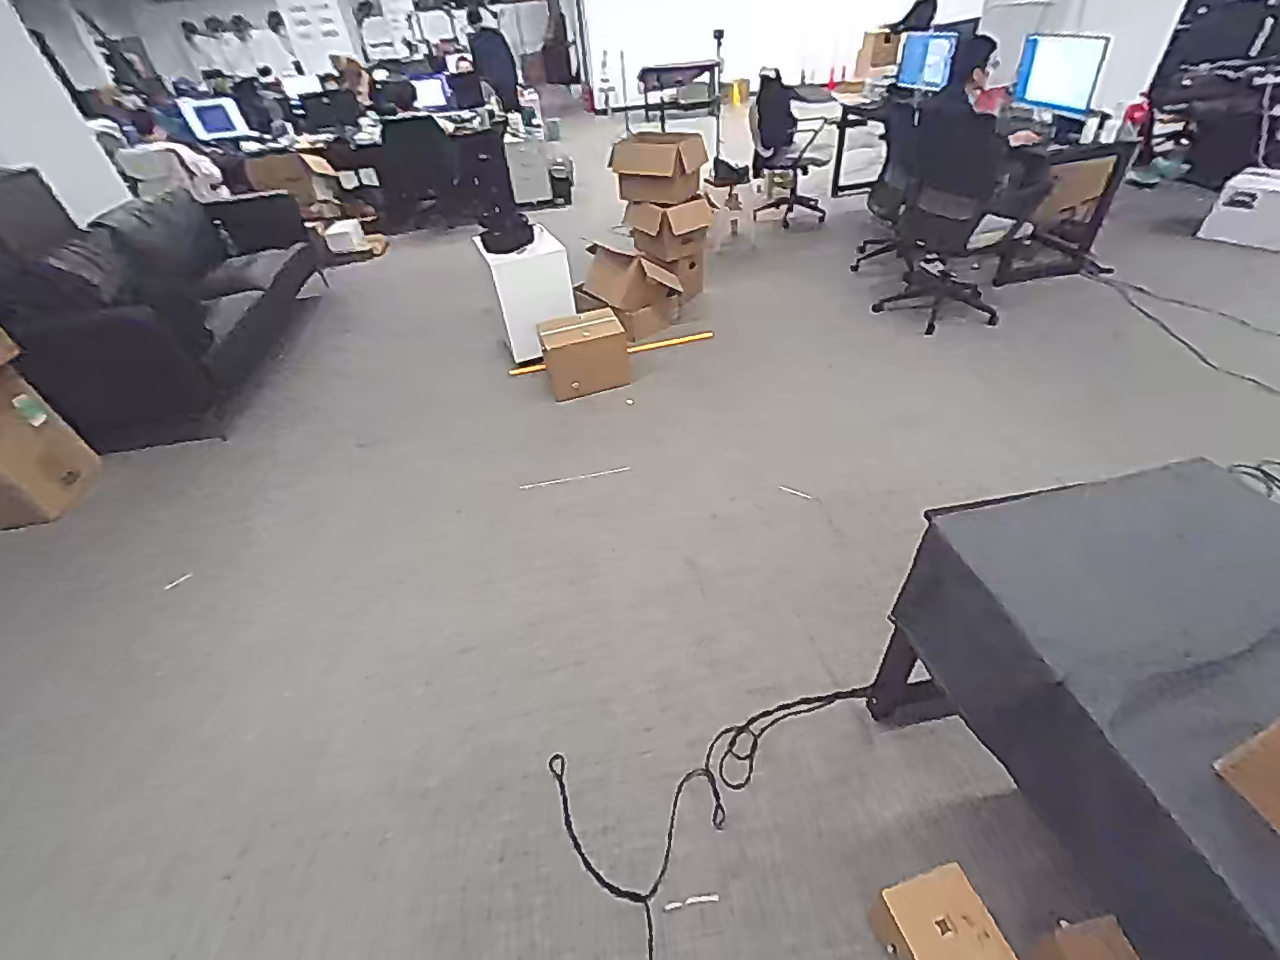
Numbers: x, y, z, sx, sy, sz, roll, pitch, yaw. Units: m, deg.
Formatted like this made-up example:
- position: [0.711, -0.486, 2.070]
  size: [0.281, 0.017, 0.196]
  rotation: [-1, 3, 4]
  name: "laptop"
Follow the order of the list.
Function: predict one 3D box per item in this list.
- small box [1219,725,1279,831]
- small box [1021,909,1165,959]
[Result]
- position: [0.806, 0.337, 0.574]
  size: [0.168, 0.176, 0.179]
  rotation: [-12, 42, -8]
  name: "small box"
- position: [0.857, 0.931, 0.993]
  size: [0.168, 0.176, 0.179]
  rotation: [-11, 40, -5]
  name: "small box"
